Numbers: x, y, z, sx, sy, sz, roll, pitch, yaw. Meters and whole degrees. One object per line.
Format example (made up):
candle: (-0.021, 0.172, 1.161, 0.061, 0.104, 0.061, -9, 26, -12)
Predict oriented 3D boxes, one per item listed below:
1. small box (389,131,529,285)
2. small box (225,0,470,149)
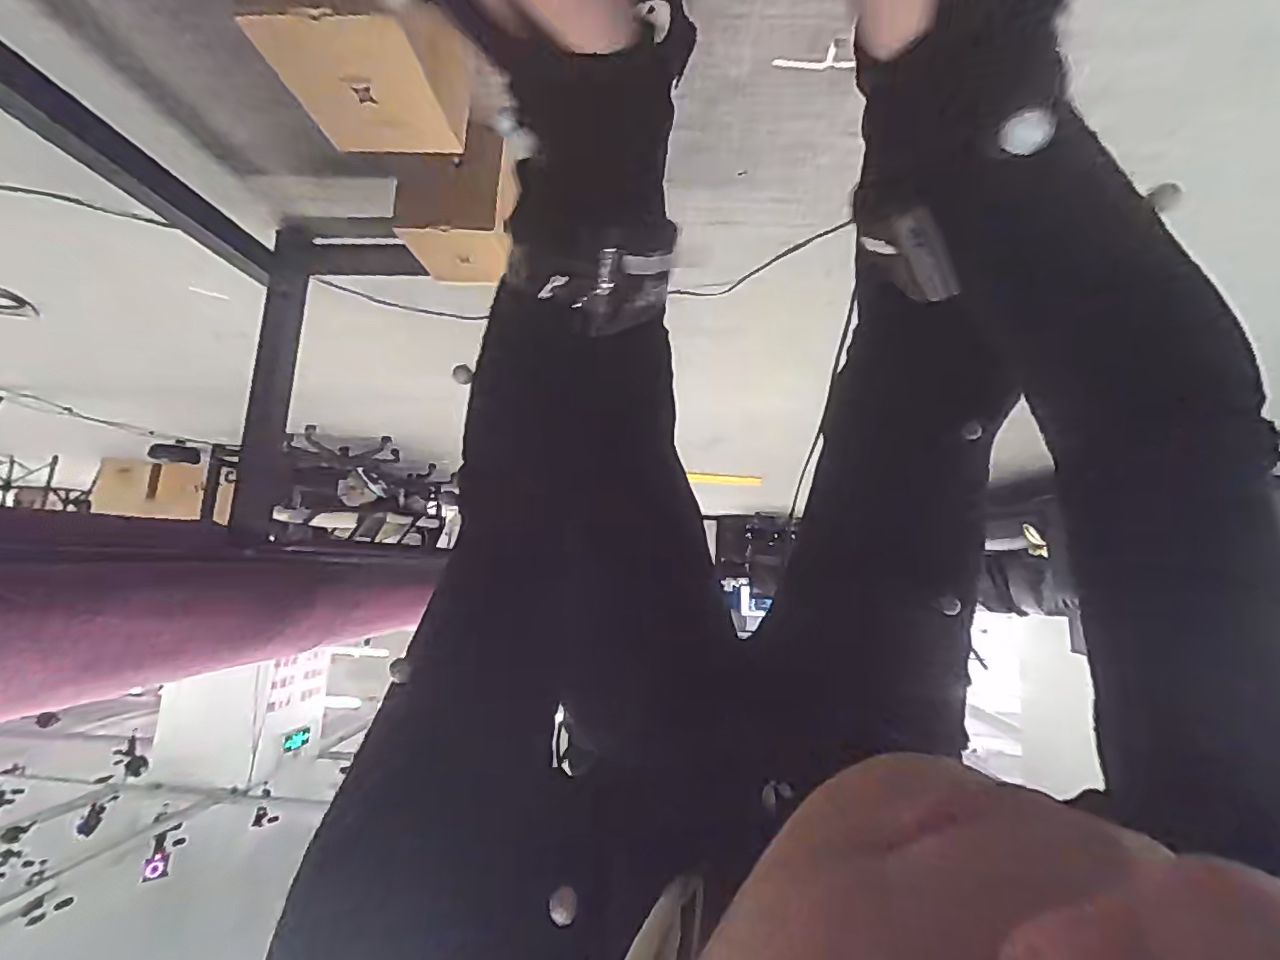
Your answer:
small box: (-0.295, -0.454, 0.918, 0.168, 0.176, 0.179, 3, 171, 5)
small box: (-0.302, -0.504, 0.596, 0.168, 0.176, 0.179, 4, 172, 4)
